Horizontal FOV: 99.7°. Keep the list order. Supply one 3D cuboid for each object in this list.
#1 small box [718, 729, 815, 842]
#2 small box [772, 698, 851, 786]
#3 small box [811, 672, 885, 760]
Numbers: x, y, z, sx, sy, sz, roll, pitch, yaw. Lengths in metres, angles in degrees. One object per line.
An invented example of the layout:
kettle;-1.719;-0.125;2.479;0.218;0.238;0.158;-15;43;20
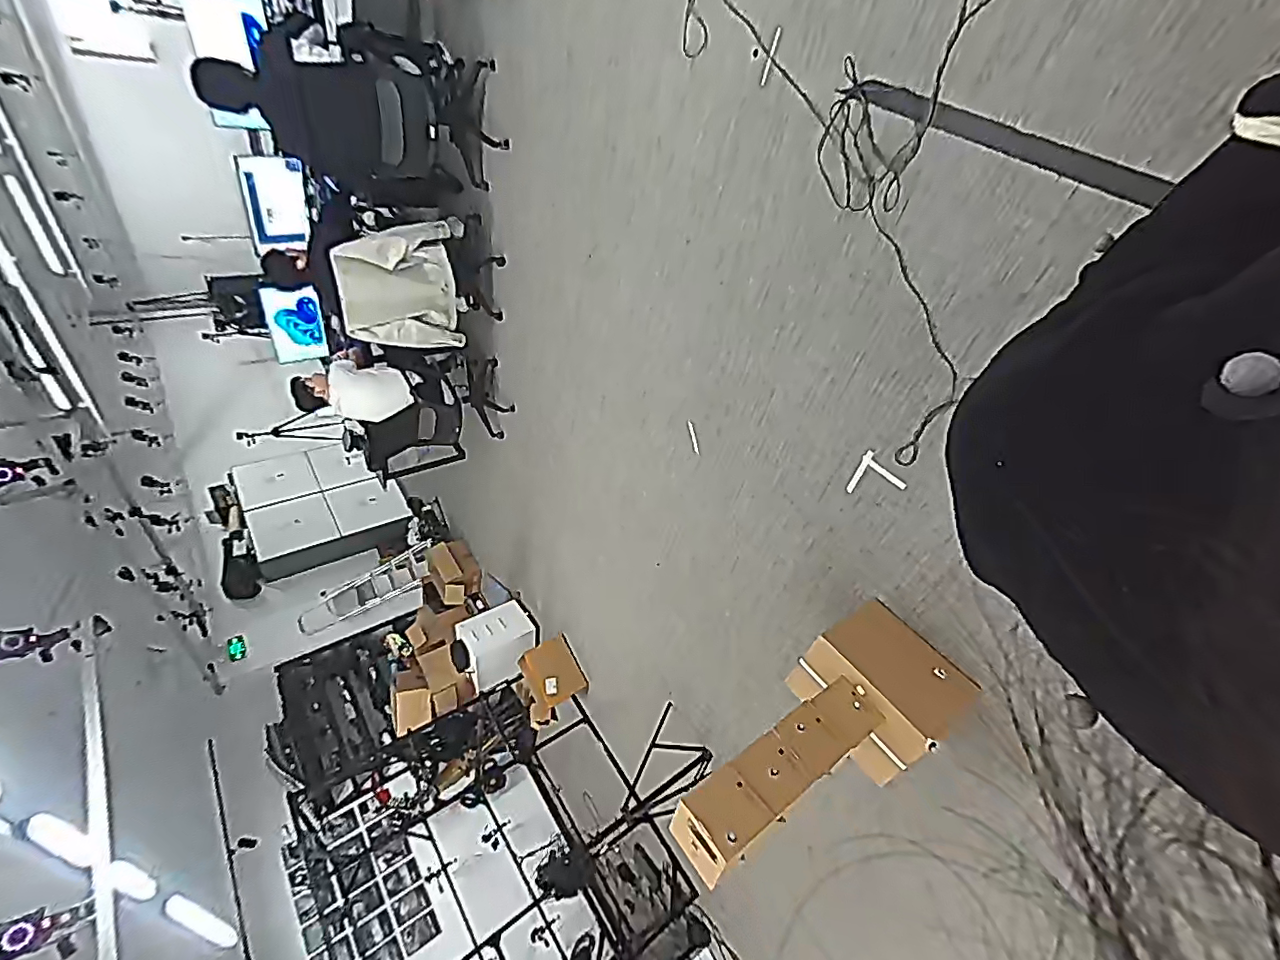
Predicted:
small box;0.339;0.806;1.442;0.168;0.176;0.179;43;137;38
small box;0.467;0.755;1.531;0.168;0.176;0.179;45;140;34
small box;0.597;0.716;1.621;0.168;0.176;0.179;45;139;32
